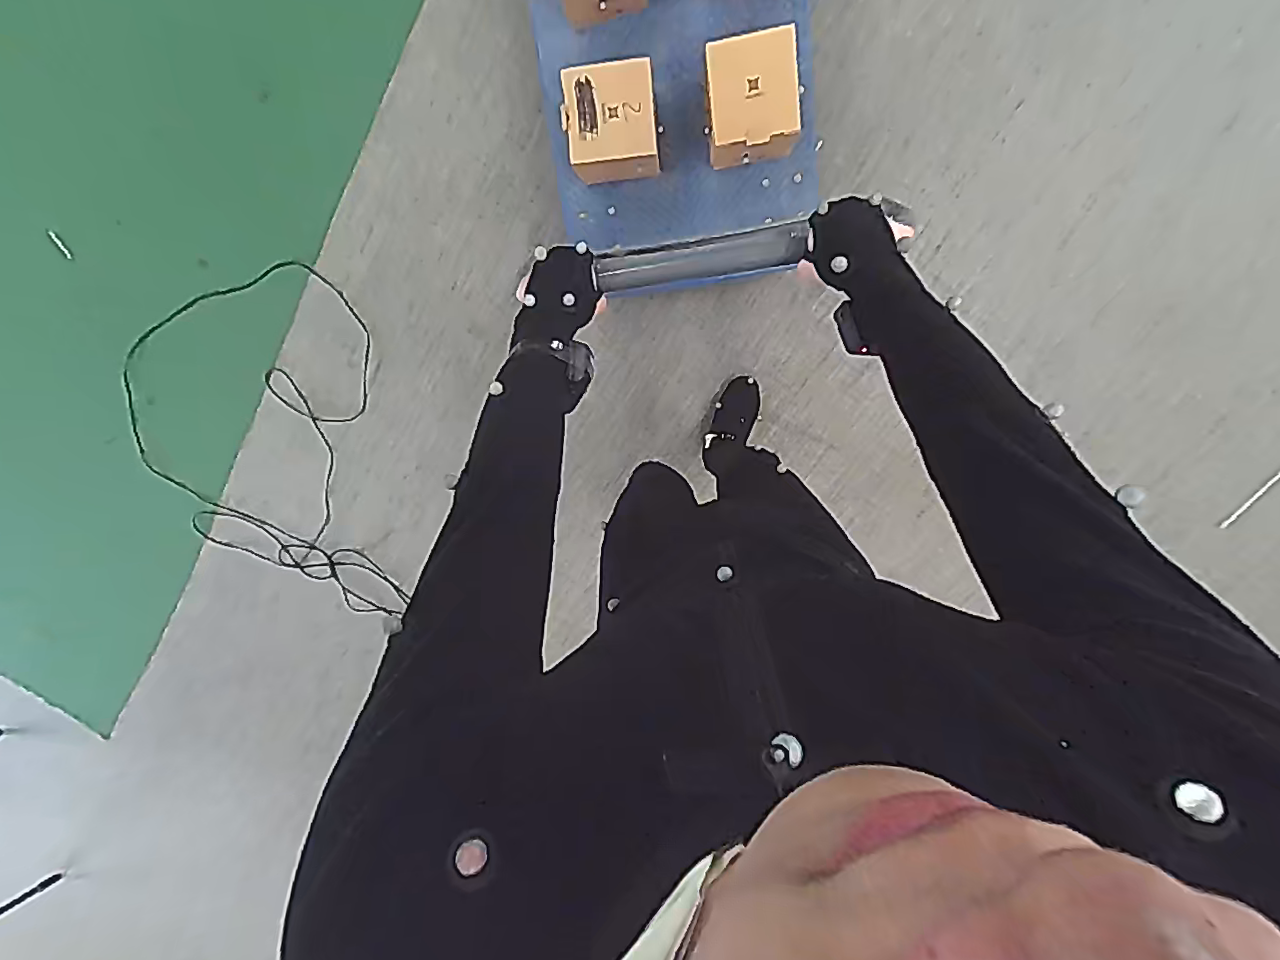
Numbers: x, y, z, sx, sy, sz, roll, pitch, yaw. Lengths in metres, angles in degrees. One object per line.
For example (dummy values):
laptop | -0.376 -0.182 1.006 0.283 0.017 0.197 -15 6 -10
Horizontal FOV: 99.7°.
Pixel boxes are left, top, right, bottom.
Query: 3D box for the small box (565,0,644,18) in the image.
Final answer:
small box | -0.083 -1.028 1.027 0.168 0.176 0.179 -10 106 8

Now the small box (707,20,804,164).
small box | 0.226 -0.764 1.084 0.168 0.176 0.179 -7 107 7
